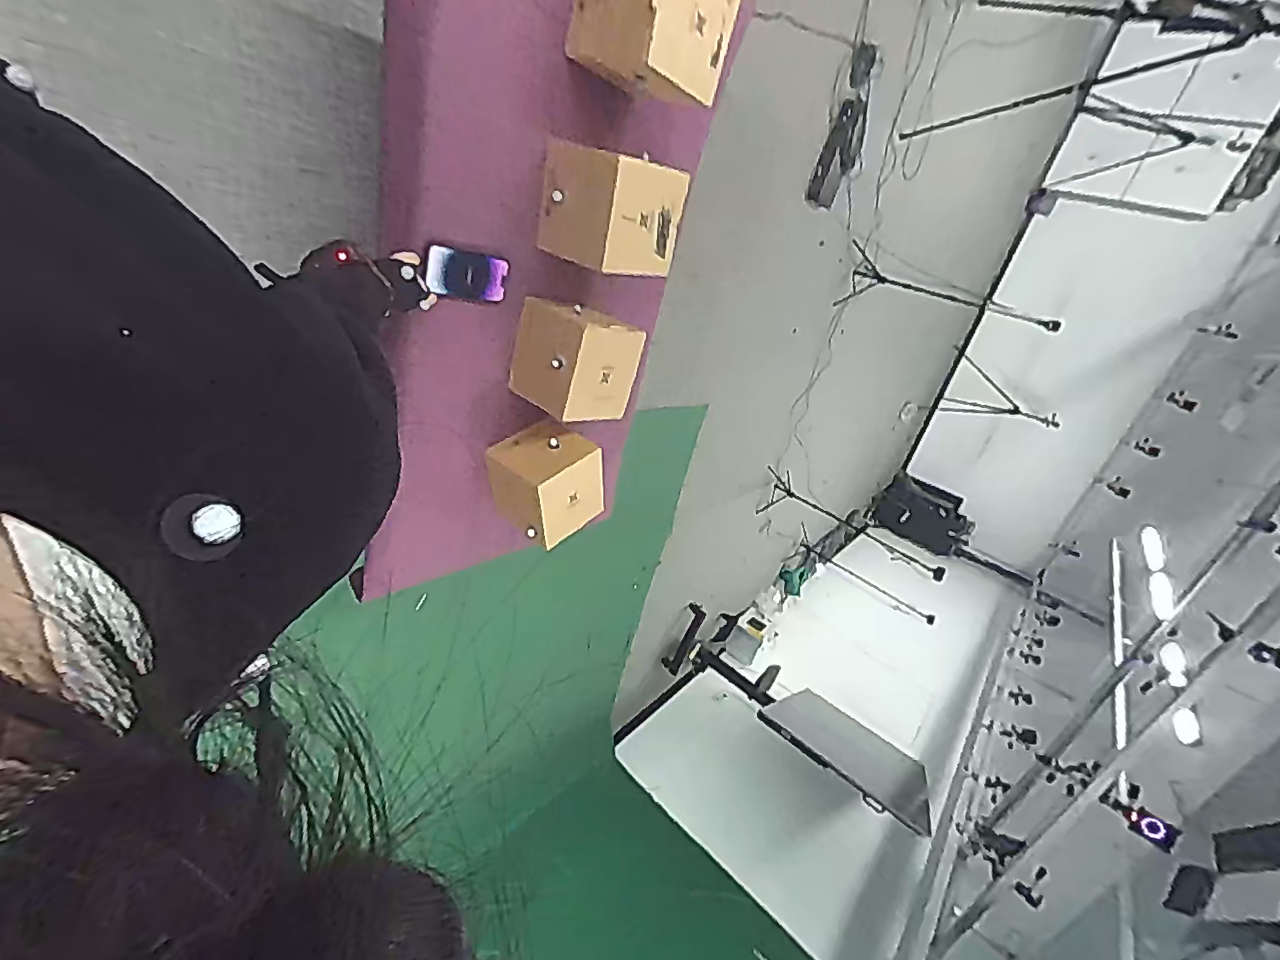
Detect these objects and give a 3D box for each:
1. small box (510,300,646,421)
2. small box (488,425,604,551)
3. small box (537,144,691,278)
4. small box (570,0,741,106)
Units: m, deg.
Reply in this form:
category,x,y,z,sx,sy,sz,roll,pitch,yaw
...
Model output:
category,x,y,z,sx,sy,sz,roll,pitch,yaw
small box,-0.120,-0.223,1.014,0.168,0.176,0.179,-10,125,-51
small box,-0.191,0.005,1.112,0.168,0.176,0.179,-36,143,-35
small box,-0.047,-0.452,0.915,0.179,0.176,0.168,-19,131,-46
small box,0.022,-0.687,0.806,0.179,0.176,0.168,-13,128,-49
